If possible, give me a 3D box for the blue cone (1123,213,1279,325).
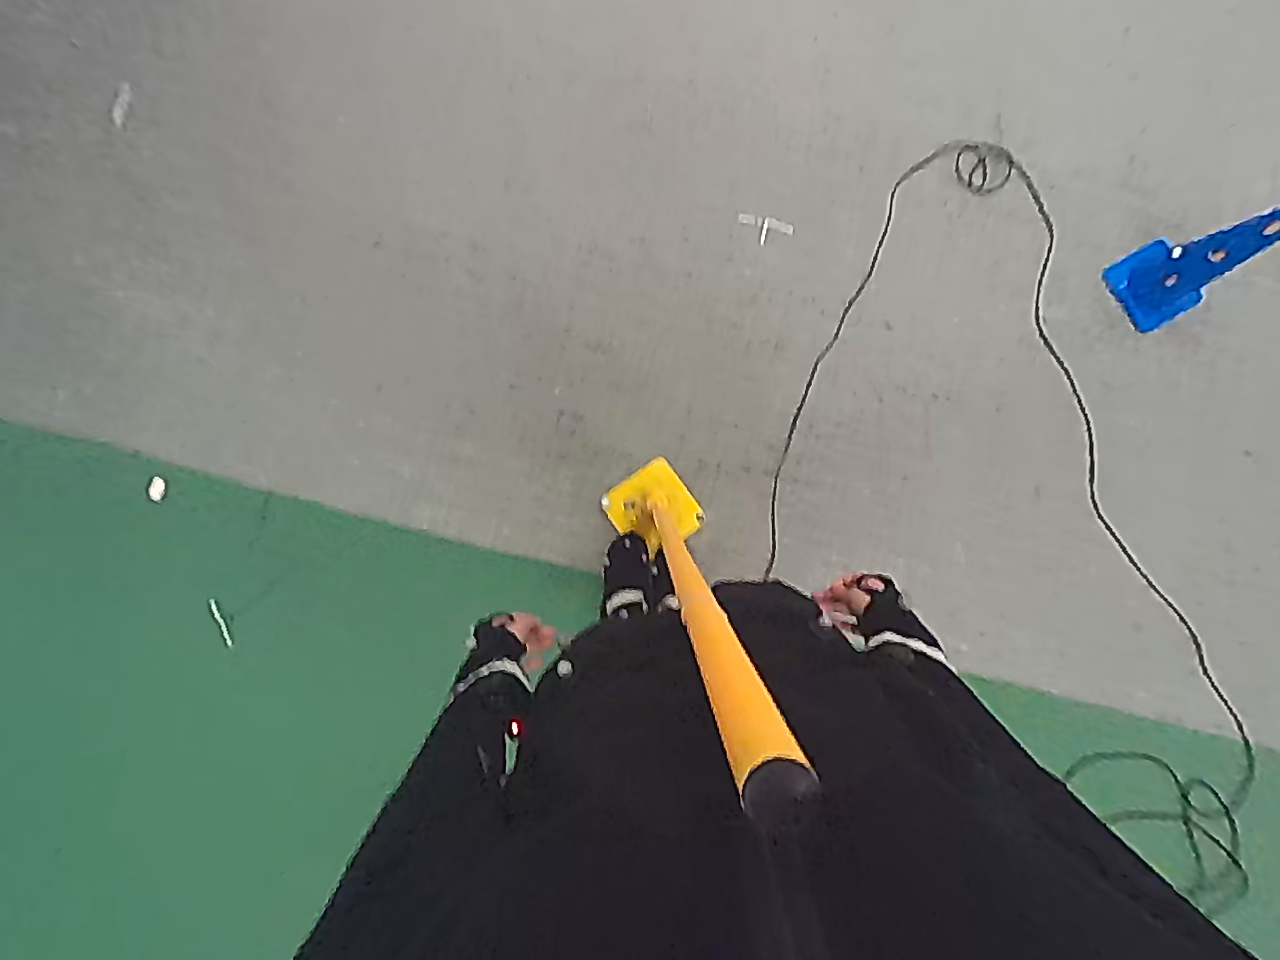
[{"bbox_3d":[1.347,-0.530,1.214,0.193,0.380,0.192,-31,85,-5],"label":"blue cone"}]
